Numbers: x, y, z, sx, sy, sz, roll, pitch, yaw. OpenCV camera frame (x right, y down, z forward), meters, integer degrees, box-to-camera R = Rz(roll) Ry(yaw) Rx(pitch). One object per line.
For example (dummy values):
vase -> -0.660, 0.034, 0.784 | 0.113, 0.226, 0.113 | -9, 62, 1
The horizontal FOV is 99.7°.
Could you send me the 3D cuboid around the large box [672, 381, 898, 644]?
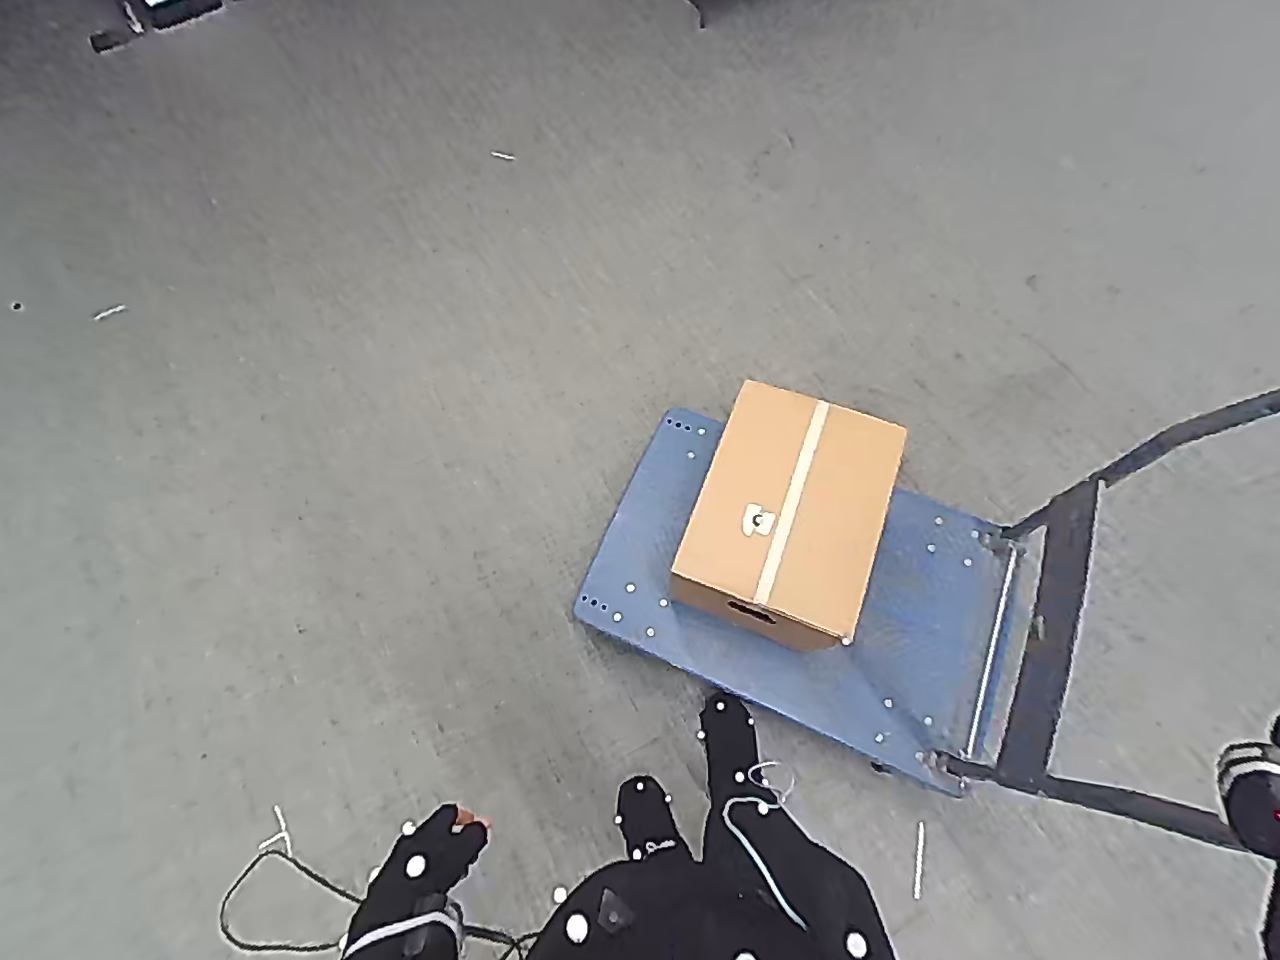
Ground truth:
large box -> 0.272, 0.079, 1.095 | 0.320, 0.320, 0.408 | 19, 73, 11
